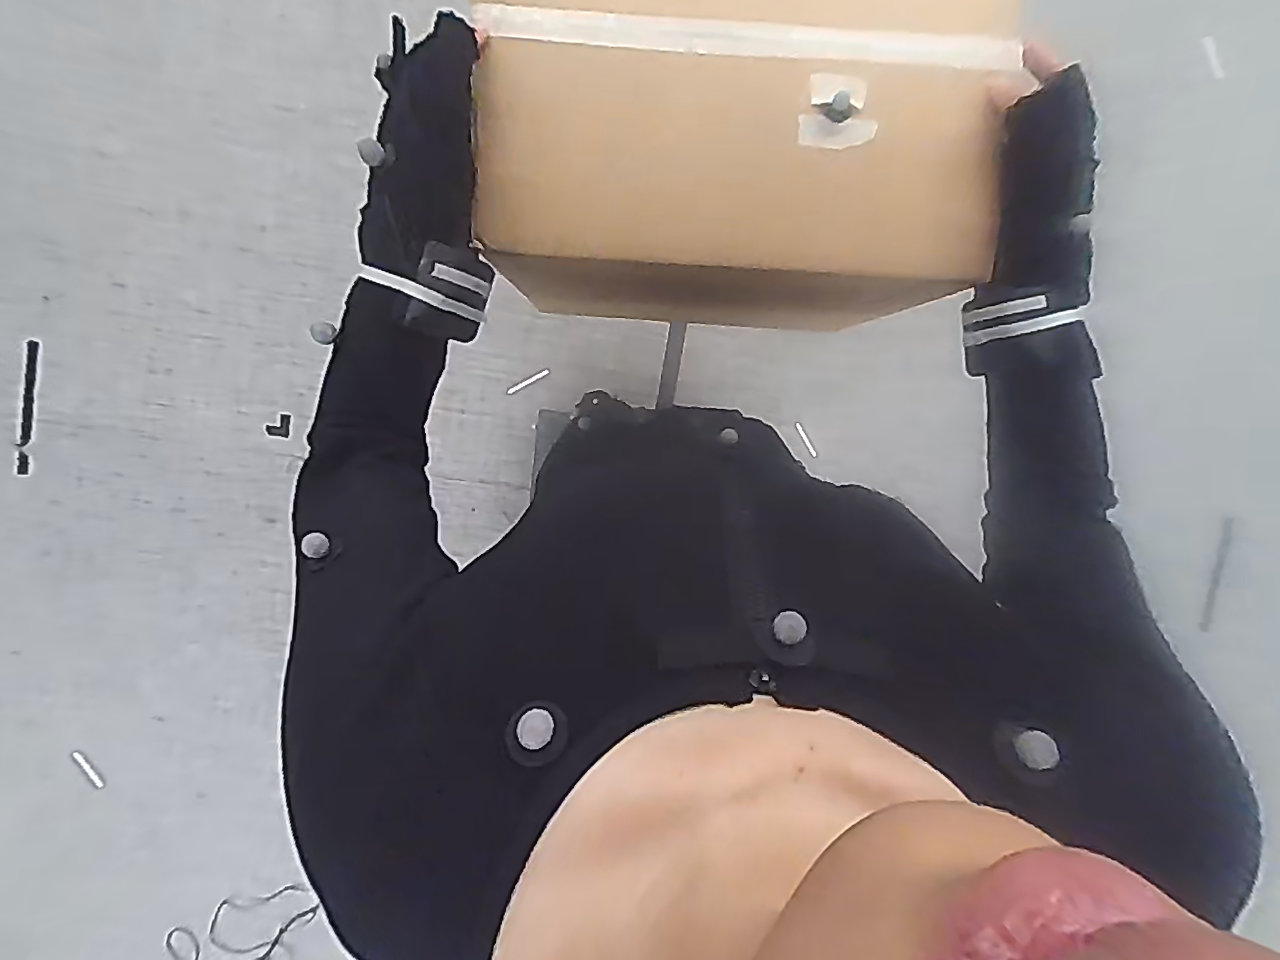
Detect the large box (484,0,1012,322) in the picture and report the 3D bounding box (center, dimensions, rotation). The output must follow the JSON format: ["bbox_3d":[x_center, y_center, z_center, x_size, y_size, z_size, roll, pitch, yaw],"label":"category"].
[{"bbox_3d":[0.075,-0.350,0.557,0.408,0.320,0.320,3,99,-2],"label":"large box"}]

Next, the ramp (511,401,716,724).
[{"bbox_3d":[-0.100,0.289,1.602,0.509,0.206,0.991,6,96,-3],"label":"ramp"}]
